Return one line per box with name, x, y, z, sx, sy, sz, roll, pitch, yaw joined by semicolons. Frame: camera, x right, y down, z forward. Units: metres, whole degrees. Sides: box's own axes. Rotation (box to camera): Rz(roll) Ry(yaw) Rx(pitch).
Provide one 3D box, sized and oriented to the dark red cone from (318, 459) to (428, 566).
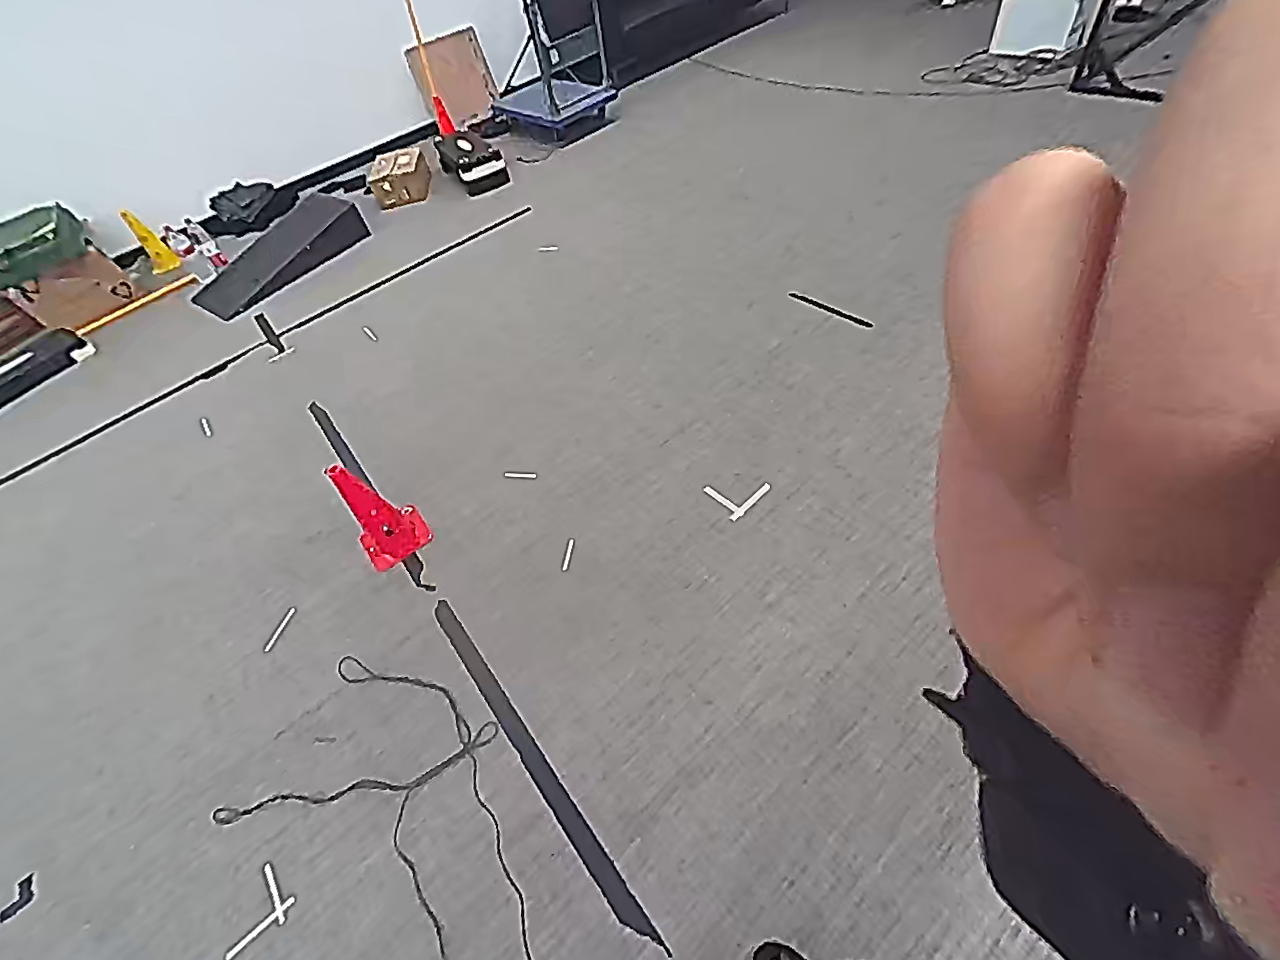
dark red cone;-0.841;0.071;1.645;0.201;0.394;0.202;-38;55;-18
